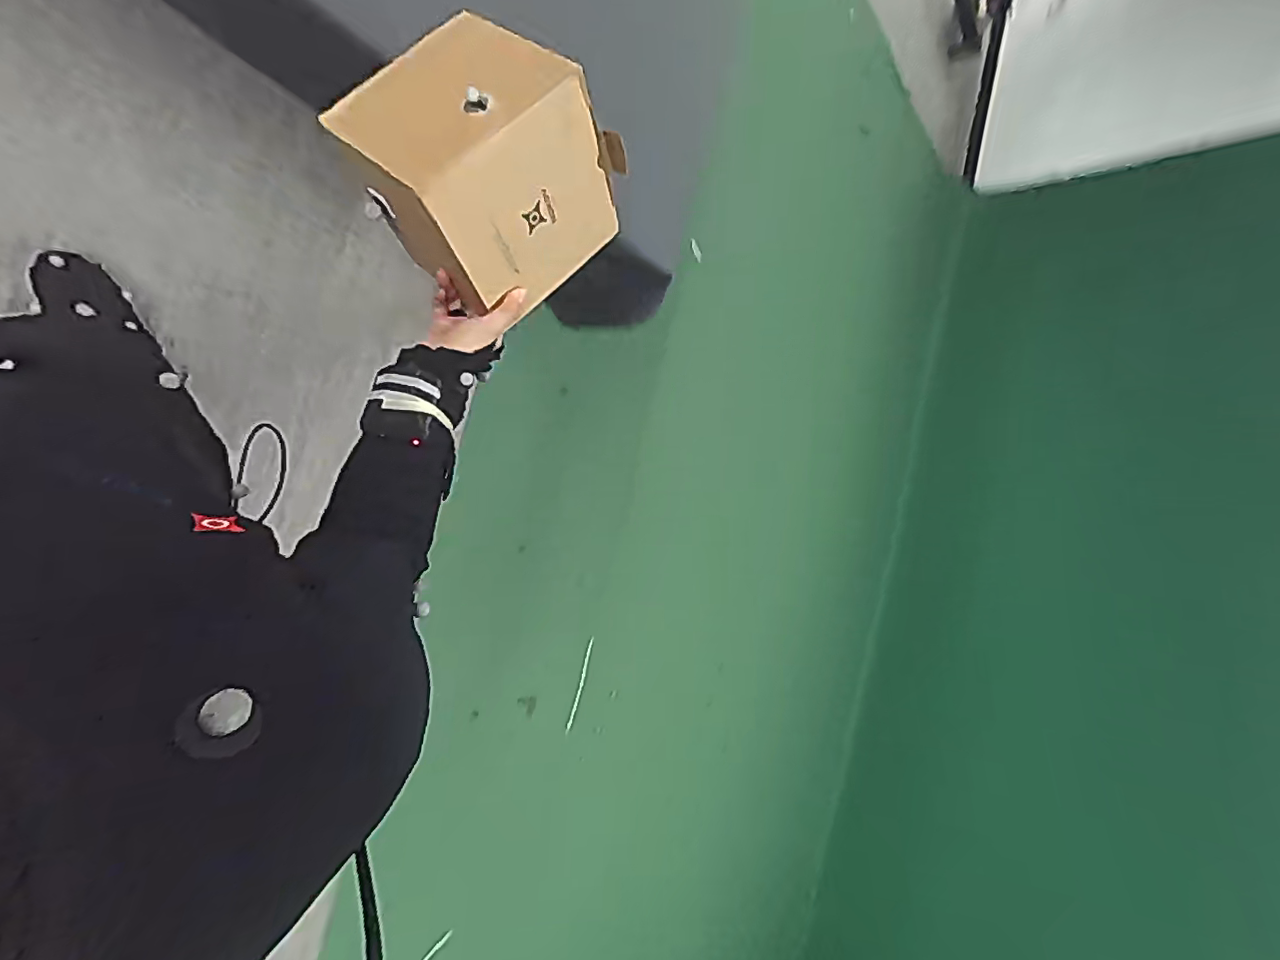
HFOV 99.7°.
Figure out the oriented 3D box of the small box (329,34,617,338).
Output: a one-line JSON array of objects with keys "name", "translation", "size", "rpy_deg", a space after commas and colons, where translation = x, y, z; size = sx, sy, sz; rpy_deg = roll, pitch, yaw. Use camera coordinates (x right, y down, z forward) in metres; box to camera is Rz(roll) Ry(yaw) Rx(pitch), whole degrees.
[{"name": "small box", "translation": [-0.152, -0.284, 0.527], "size": [0.179, 0.176, 0.168], "rpy_deg": [-45, 157, -11]}]
